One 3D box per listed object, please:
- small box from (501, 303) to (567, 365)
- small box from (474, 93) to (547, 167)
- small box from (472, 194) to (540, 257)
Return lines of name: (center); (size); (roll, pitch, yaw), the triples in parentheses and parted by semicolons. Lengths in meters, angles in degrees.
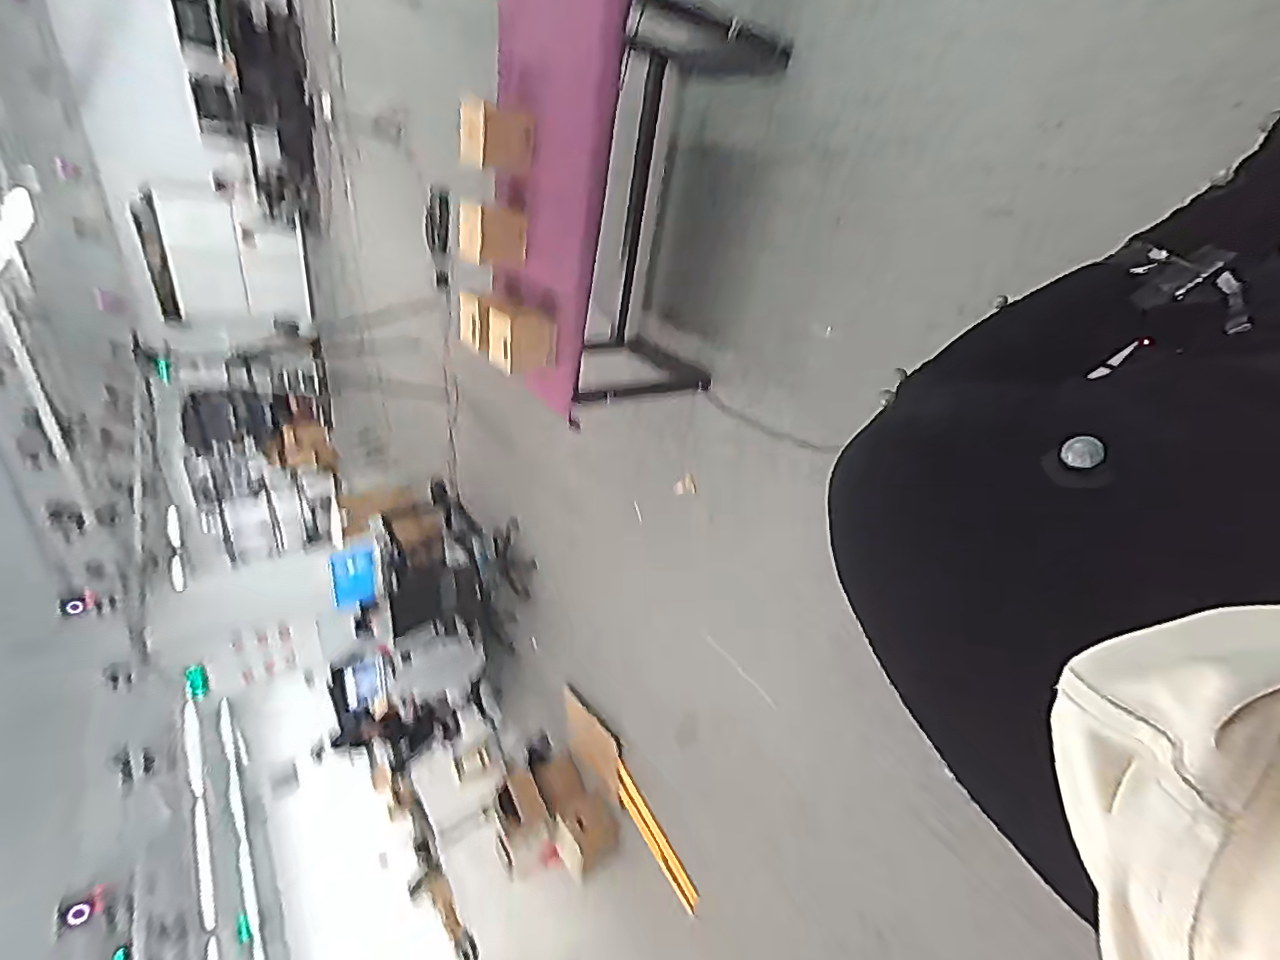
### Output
small box: (-0.362, -0.501, 1.837); (0.179, 0.176, 0.168); (40, 130, 44)
small box: (-0.414, -1.108, 1.716); (0.179, 0.176, 0.168); (41, 132, 39)
small box: (-0.466, -0.875, 1.868); (0.179, 0.176, 0.168); (40, 131, 39)
